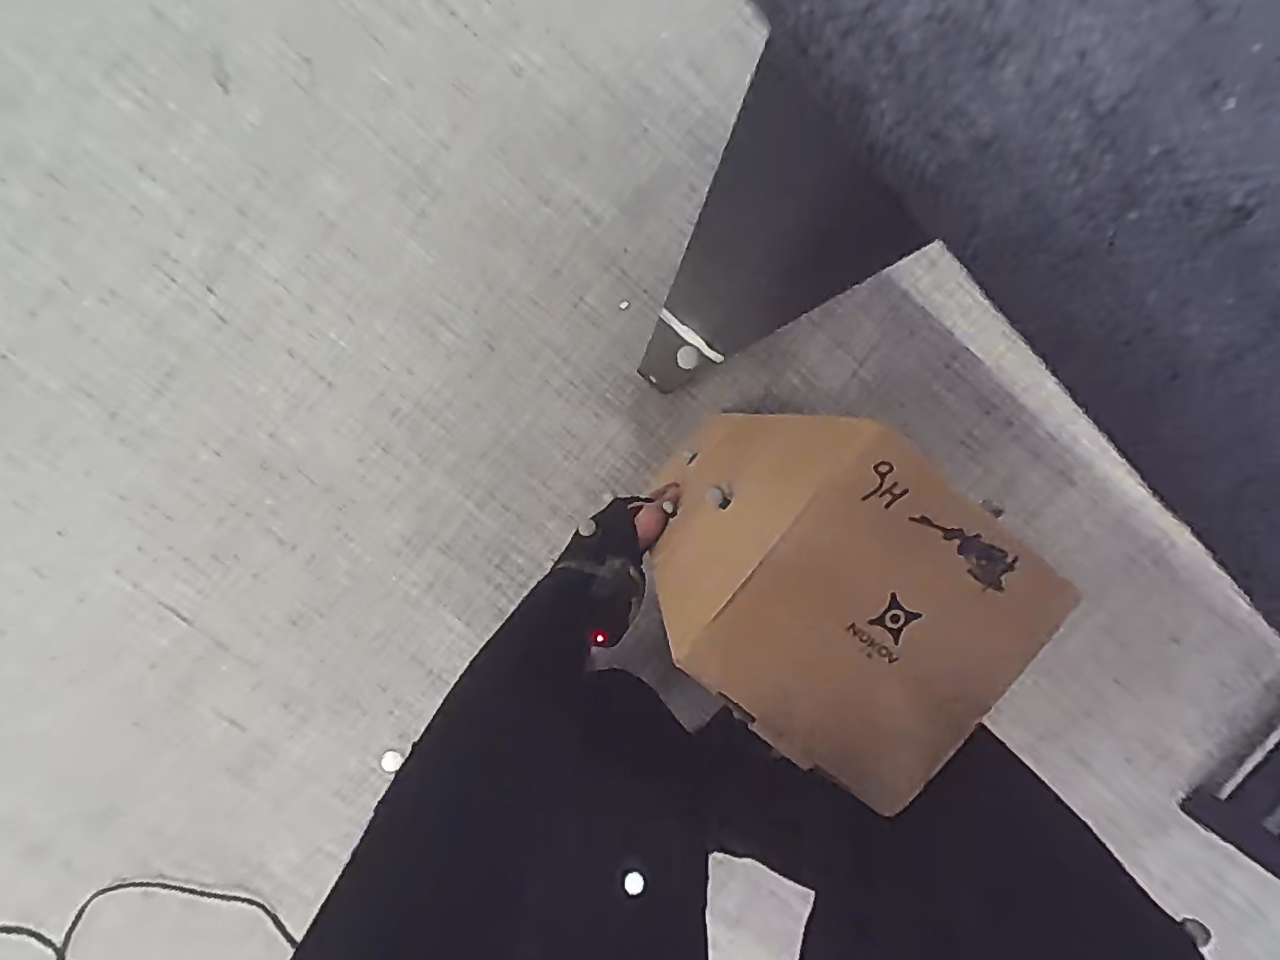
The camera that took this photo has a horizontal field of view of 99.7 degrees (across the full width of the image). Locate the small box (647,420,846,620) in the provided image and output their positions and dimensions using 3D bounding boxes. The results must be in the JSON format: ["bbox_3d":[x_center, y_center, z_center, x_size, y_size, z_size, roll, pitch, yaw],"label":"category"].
[{"bbox_3d":[0.119,0.038,0.695,0.168,0.176,0.179,40,94,-5],"label":"small box"}]
